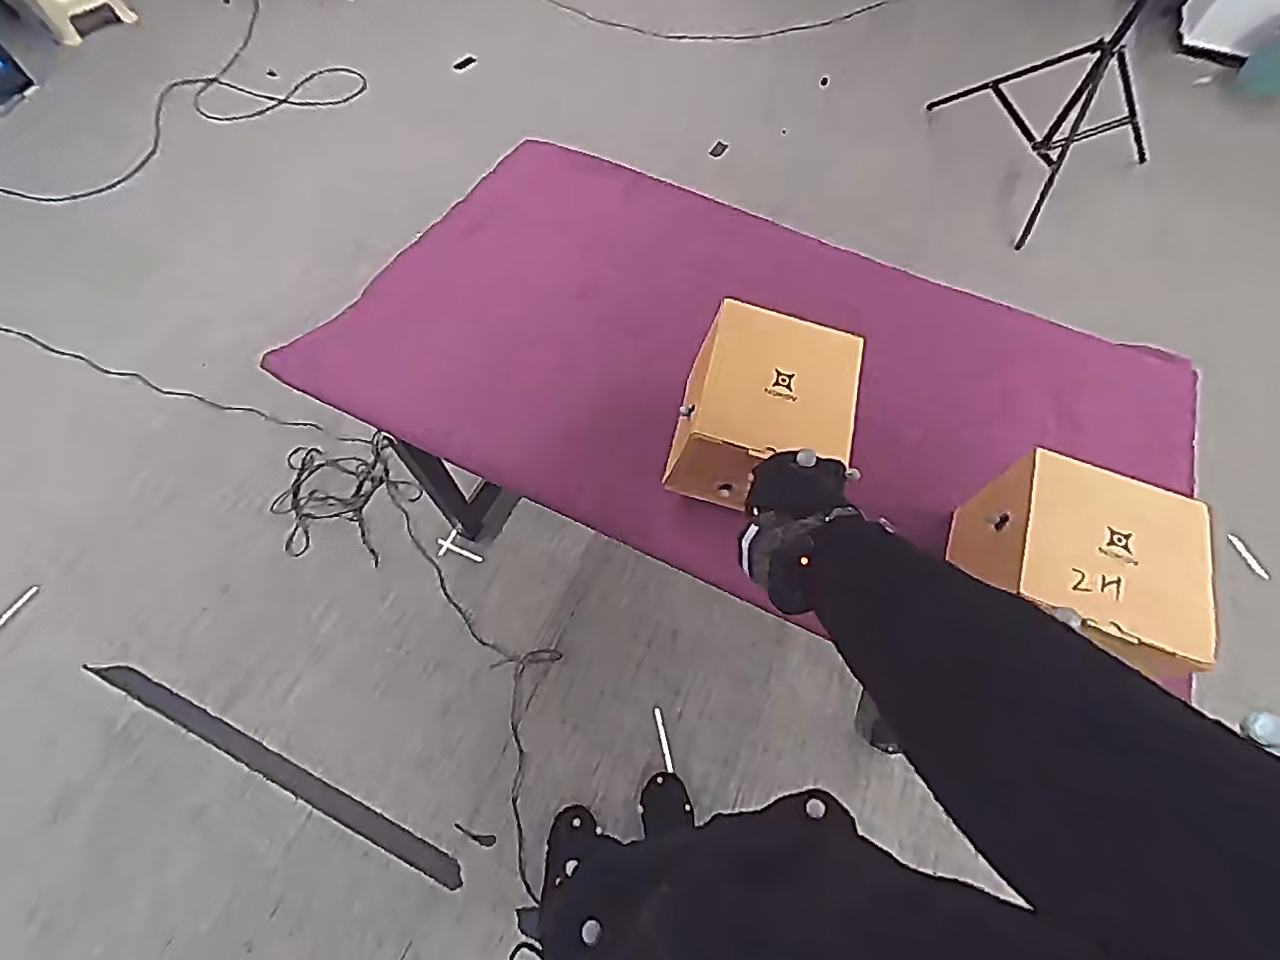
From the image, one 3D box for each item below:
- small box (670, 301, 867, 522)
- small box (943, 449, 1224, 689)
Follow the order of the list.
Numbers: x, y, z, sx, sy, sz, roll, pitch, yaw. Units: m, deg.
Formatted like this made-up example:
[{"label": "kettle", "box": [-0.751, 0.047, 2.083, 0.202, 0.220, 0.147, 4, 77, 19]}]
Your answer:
[{"label": "small box", "box": [0.143, -0.071, 0.643, 0.168, 0.176, 0.179, 17, 68, -3]}, {"label": "small box", "box": [0.458, 0.103, 0.584, 0.168, 0.176, 0.179, 22, 65, 11]}]
